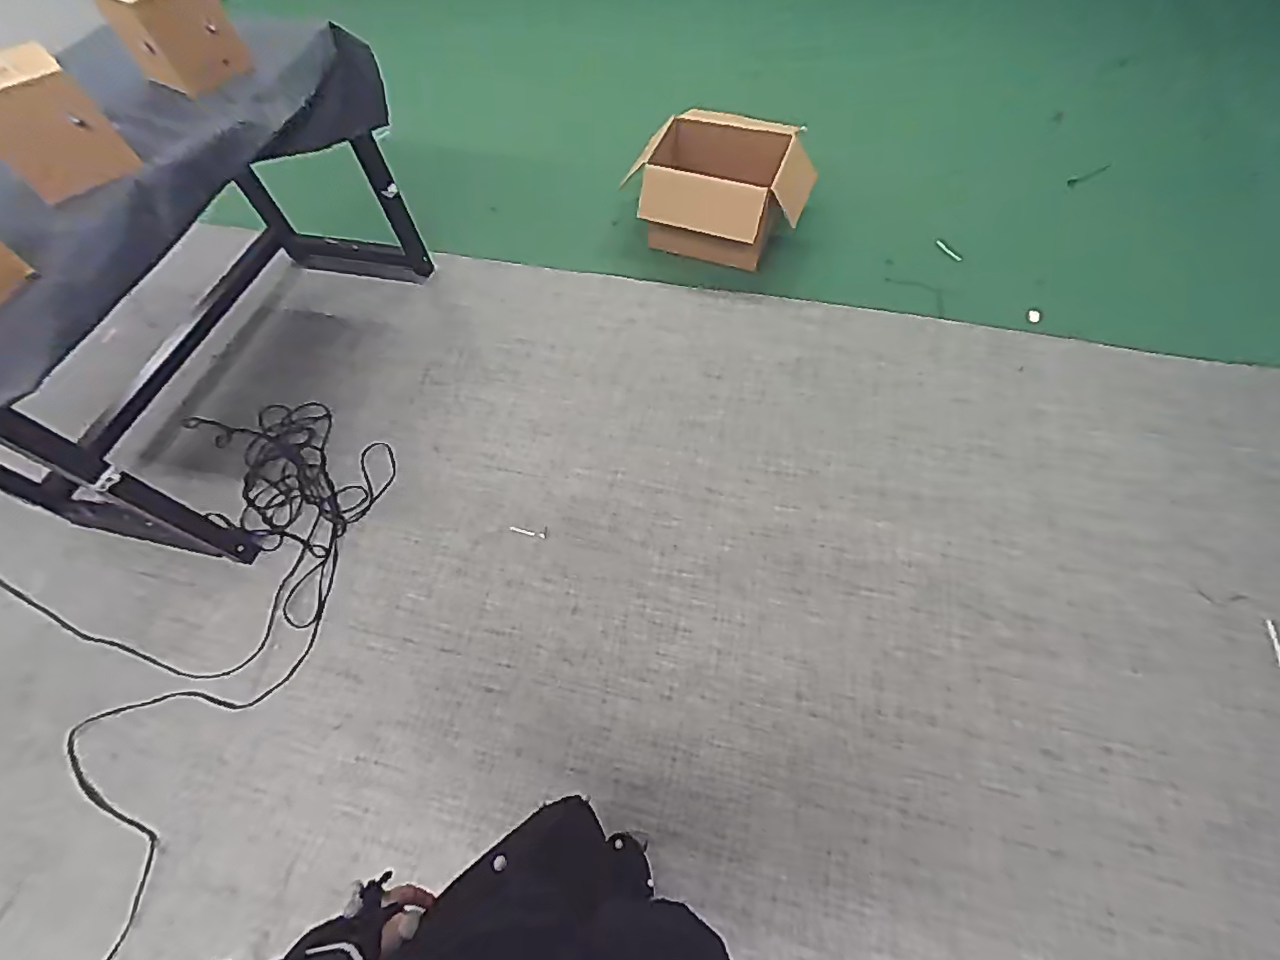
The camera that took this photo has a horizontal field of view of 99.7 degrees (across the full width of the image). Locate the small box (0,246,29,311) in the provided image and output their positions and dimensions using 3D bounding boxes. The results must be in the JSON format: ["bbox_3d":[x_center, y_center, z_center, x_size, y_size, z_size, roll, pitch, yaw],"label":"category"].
[{"bbox_3d":[-1.108,-0.322,0.813,0.168,0.176,0.179,6,61,10],"label":"small box"}]

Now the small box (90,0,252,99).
[{"bbox_3d":[-1.008,-0.966,1.178,0.179,0.176,0.168,27,64,18],"label":"small box"}]
